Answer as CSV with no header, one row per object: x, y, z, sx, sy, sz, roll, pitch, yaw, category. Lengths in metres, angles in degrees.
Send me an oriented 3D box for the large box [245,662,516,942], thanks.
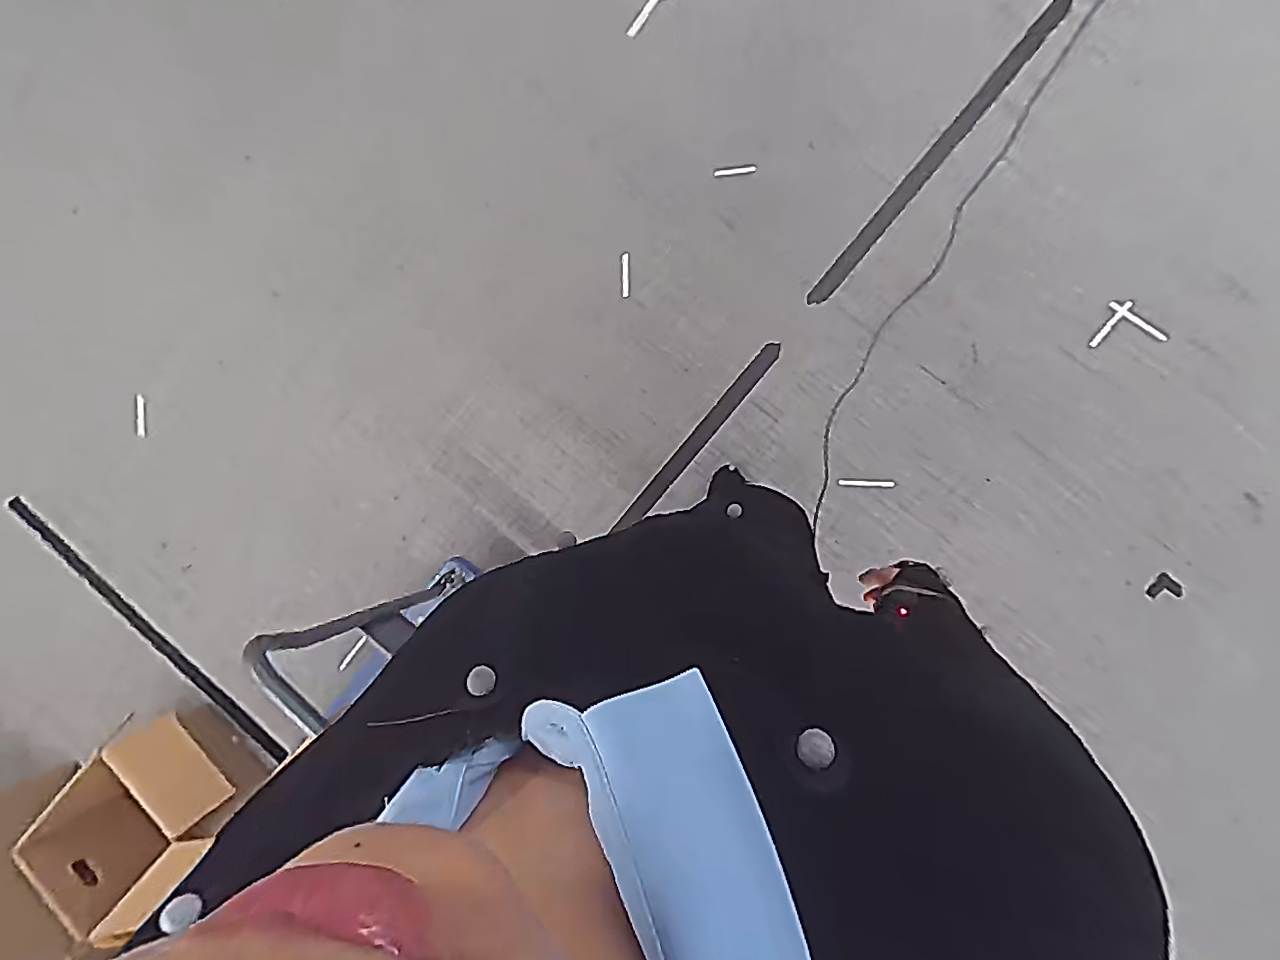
-0.574,0.710,1.261,0.408,0.320,0.320,41,96,4,large box
